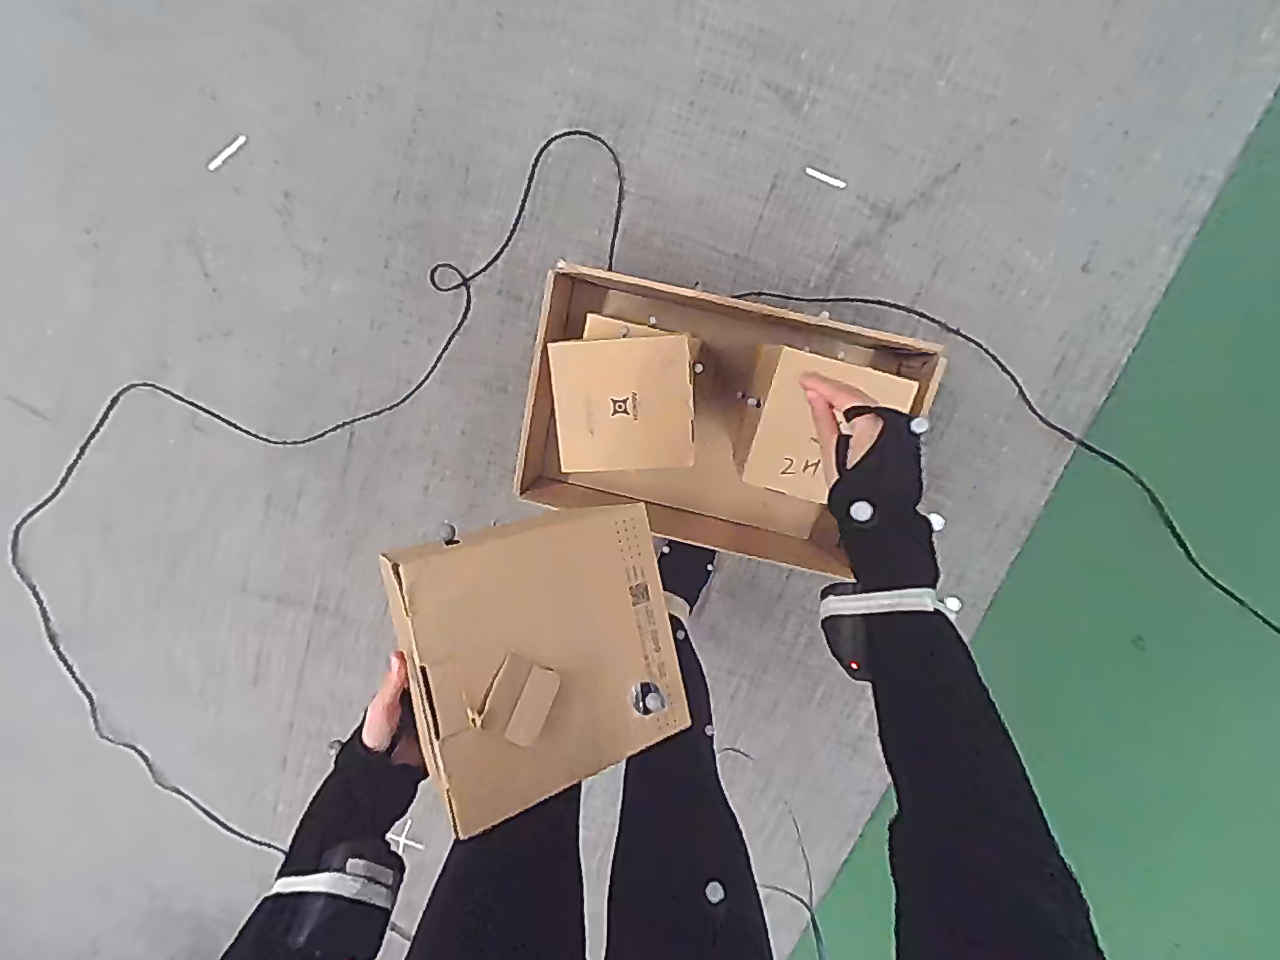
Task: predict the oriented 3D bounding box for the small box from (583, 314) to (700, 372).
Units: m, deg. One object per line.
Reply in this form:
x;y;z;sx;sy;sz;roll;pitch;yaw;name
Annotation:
-0.007;-0.171;0.903;0.179;0.176;0.168;14;106;0;small box

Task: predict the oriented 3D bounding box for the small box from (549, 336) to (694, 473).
-0.016;-0.112;0.752;0.179;0.176;0.168;-2;105;6;small box

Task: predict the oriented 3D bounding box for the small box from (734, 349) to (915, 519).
0.231;-0.072;0.733;0.168;0.176;0.179;16;106;2;small box

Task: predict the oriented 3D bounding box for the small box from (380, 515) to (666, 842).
-0.091;0.124;0.423;0.176;0.179;0.168;-12;91;-27;small box
